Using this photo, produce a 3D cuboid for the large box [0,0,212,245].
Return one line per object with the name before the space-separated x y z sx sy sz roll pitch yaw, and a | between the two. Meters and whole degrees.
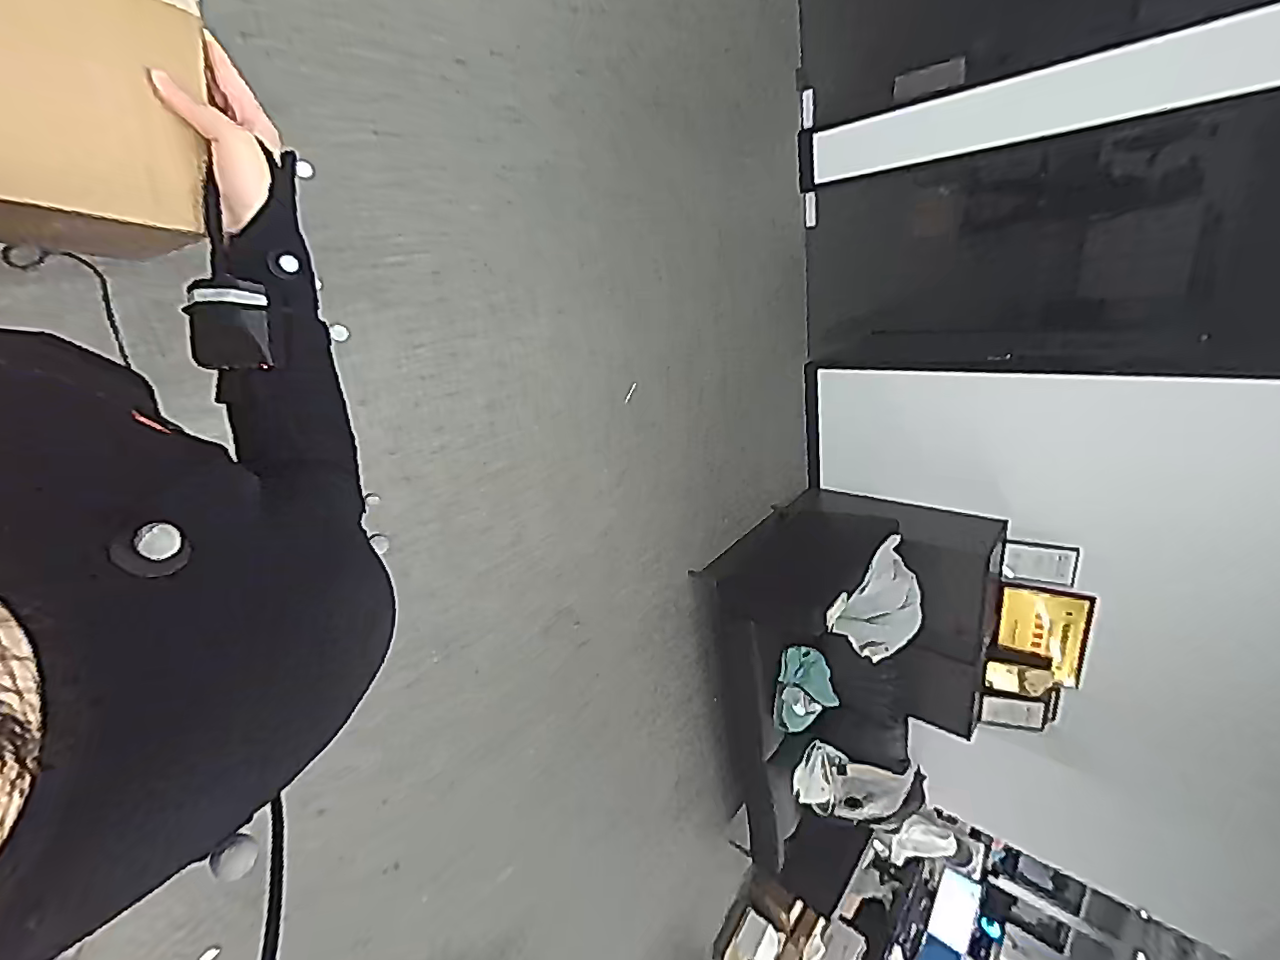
large box | -0.565 -0.355 0.330 0.408 0.320 0.320 -10 110 -50
